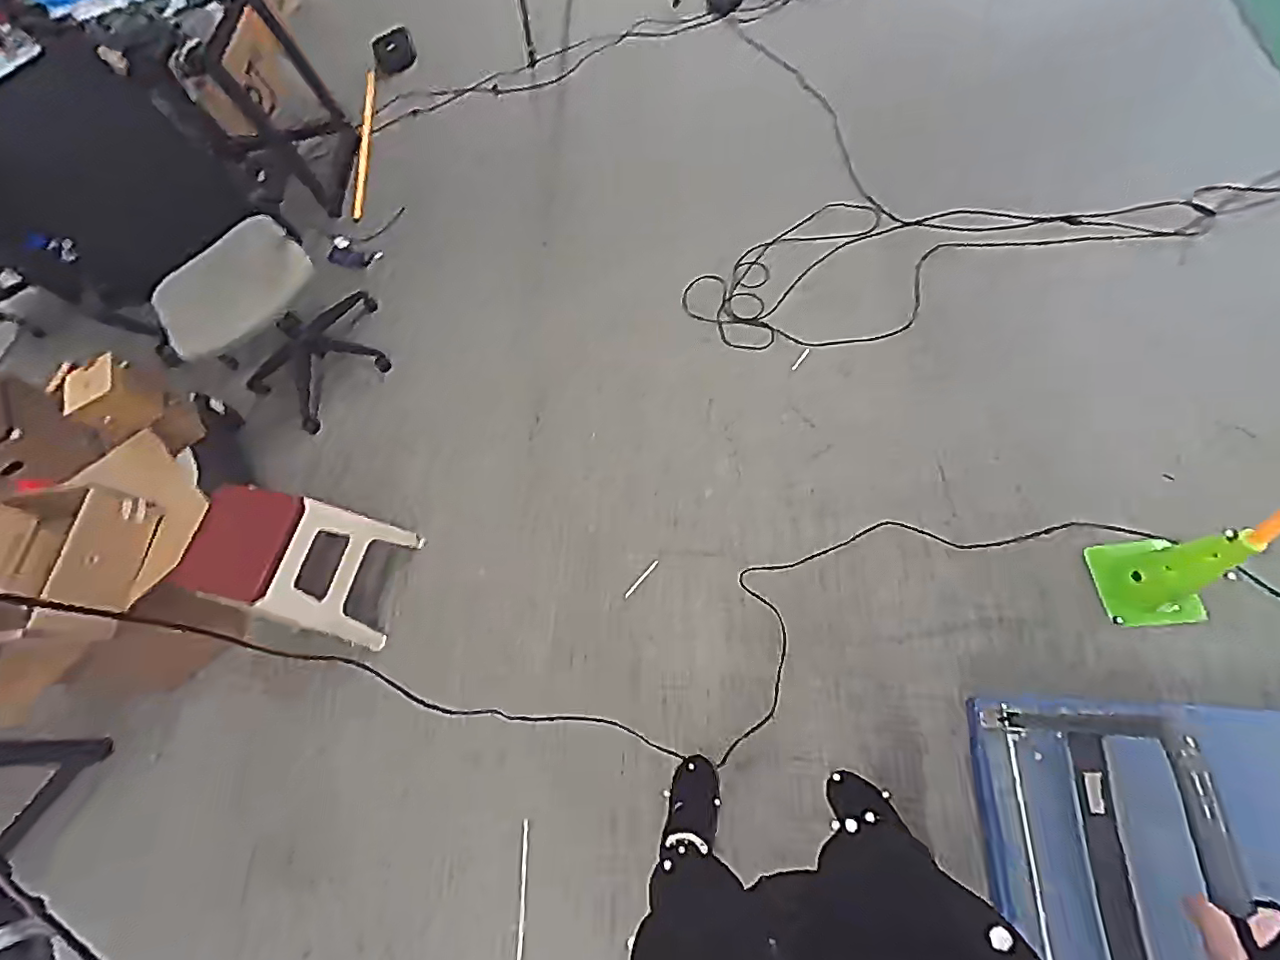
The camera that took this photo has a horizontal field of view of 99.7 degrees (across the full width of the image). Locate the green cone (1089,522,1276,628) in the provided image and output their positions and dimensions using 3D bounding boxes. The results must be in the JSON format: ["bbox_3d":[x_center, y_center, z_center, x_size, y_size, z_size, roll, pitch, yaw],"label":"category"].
[{"bbox_3d":[1.187,0.175,1.146,0.200,0.368,0.202,-9,63,10],"label":"green cone"}]
